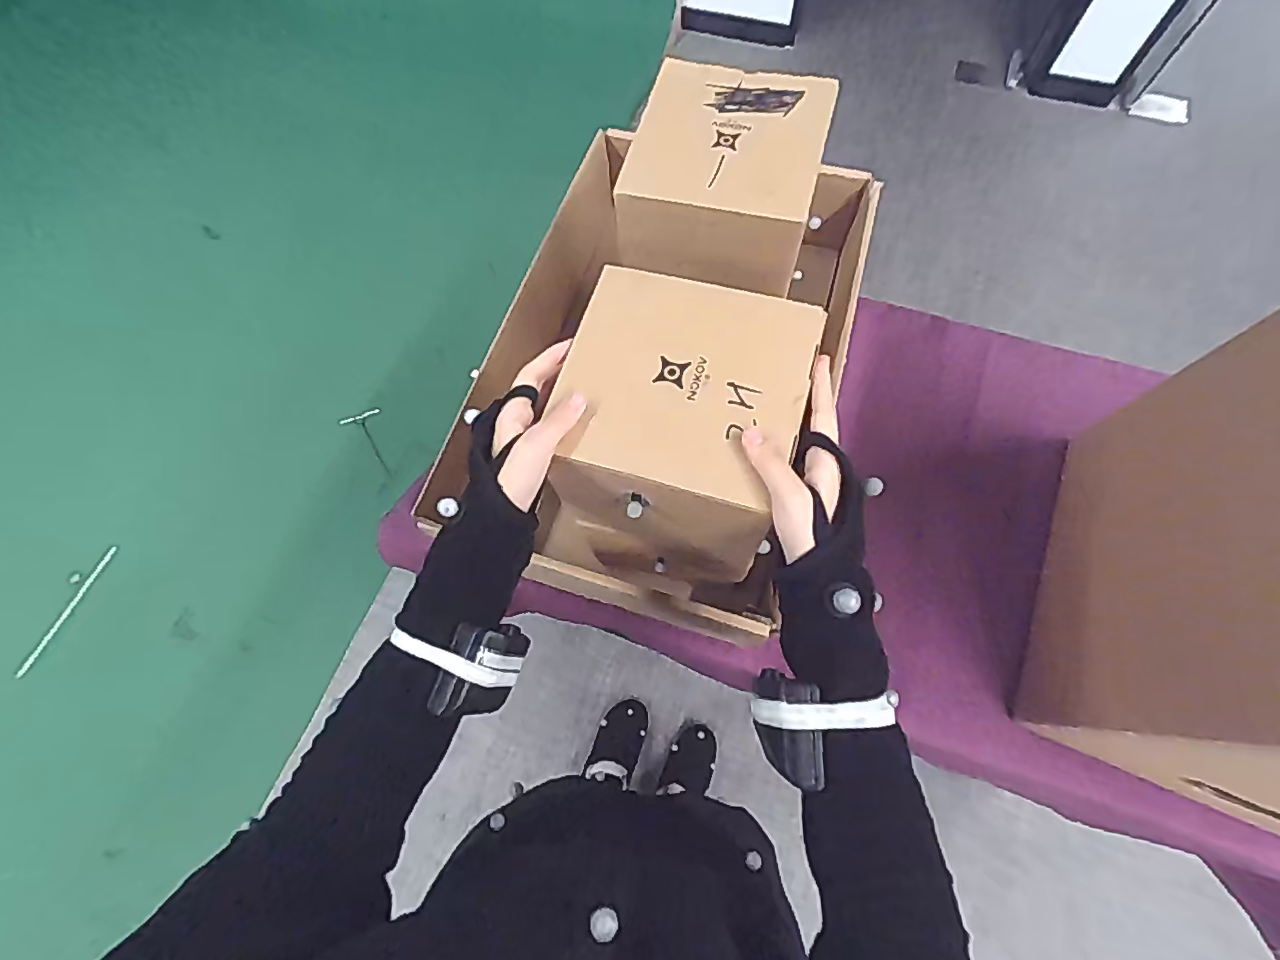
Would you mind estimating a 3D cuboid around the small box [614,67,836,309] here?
[{"bbox_3d":[0.082,-0.268,0.551,0.168,0.176,0.179,14,71,9],"label":"small box"}]

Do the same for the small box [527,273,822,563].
[{"bbox_3d":[0.033,-0.040,0.460,0.179,0.176,0.168,16,72,10],"label":"small box"}]
